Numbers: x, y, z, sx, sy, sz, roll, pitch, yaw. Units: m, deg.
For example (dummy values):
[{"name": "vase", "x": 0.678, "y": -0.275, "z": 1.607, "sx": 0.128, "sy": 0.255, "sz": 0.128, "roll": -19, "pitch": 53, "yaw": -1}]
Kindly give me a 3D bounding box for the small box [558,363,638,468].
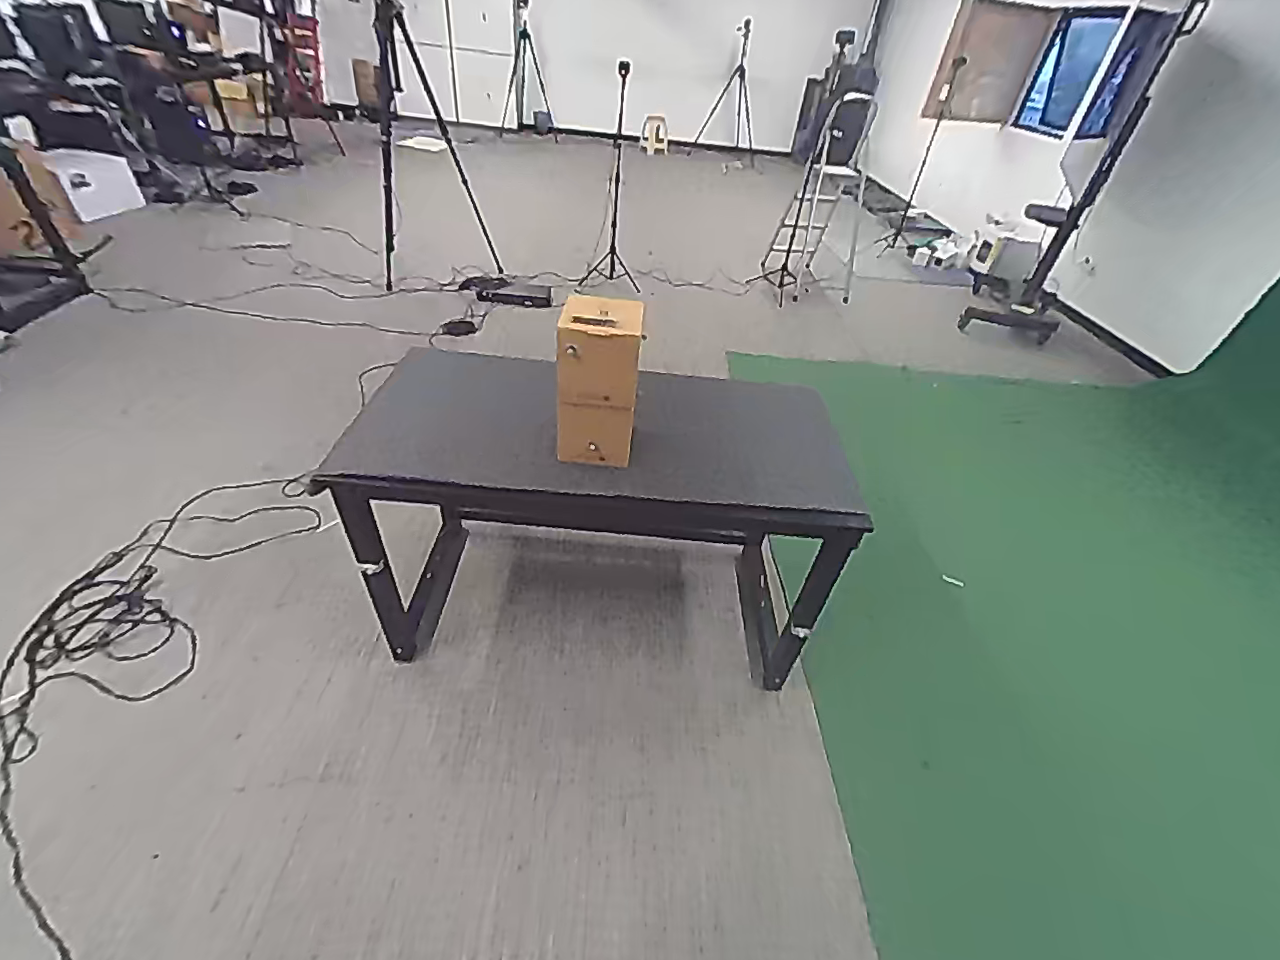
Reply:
[{"name": "small box", "x": -0.099, "y": -0.151, "z": 1.264, "sx": 0.168, "sy": 0.176, "sz": 0.179, "roll": 6, "pitch": 39, "yaw": -1}]
